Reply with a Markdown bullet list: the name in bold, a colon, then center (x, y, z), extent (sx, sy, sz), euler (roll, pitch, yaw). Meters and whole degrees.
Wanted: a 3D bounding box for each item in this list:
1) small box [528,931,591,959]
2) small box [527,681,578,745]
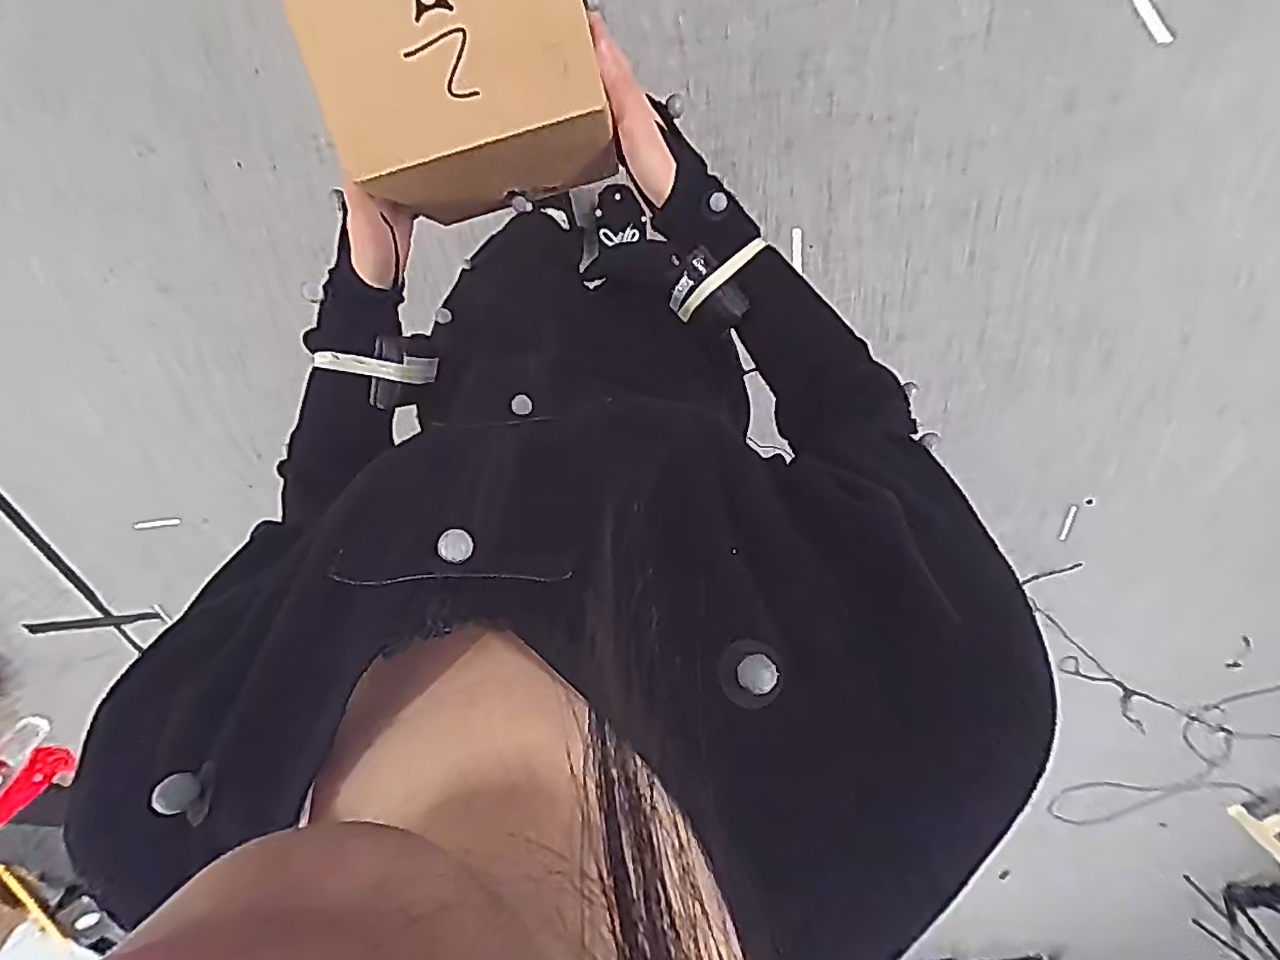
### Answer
- **small box**: center (-0.249, 1.513, 1.650), extent (0.179, 0.176, 0.168), euler (-6, 123, 2)
- **small box**: center (-0.343, 0.917, 2.135), extent (0.179, 0.176, 0.168), euler (6, 121, -7)
